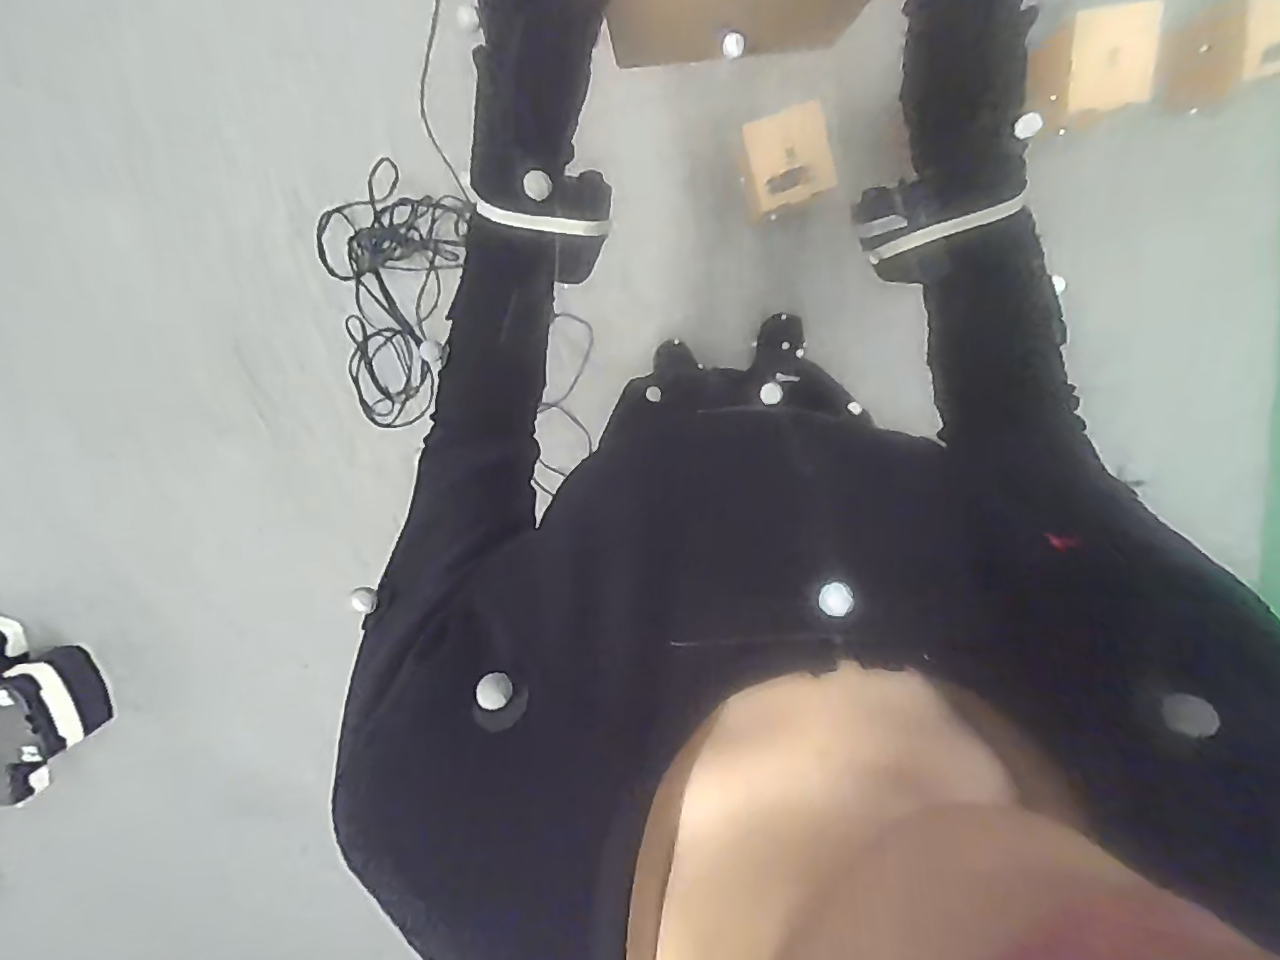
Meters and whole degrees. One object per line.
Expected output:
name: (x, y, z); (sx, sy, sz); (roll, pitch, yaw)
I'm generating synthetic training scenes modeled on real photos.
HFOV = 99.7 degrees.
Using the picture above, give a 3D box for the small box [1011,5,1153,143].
small box: (0.926, -0.851, 1.150); (0.168, 0.176, 0.179); (-7, 105, 4)

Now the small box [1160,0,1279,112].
small box: (1.240, -0.901, 1.126); (0.168, 0.176, 0.179); (-11, 104, 5)
